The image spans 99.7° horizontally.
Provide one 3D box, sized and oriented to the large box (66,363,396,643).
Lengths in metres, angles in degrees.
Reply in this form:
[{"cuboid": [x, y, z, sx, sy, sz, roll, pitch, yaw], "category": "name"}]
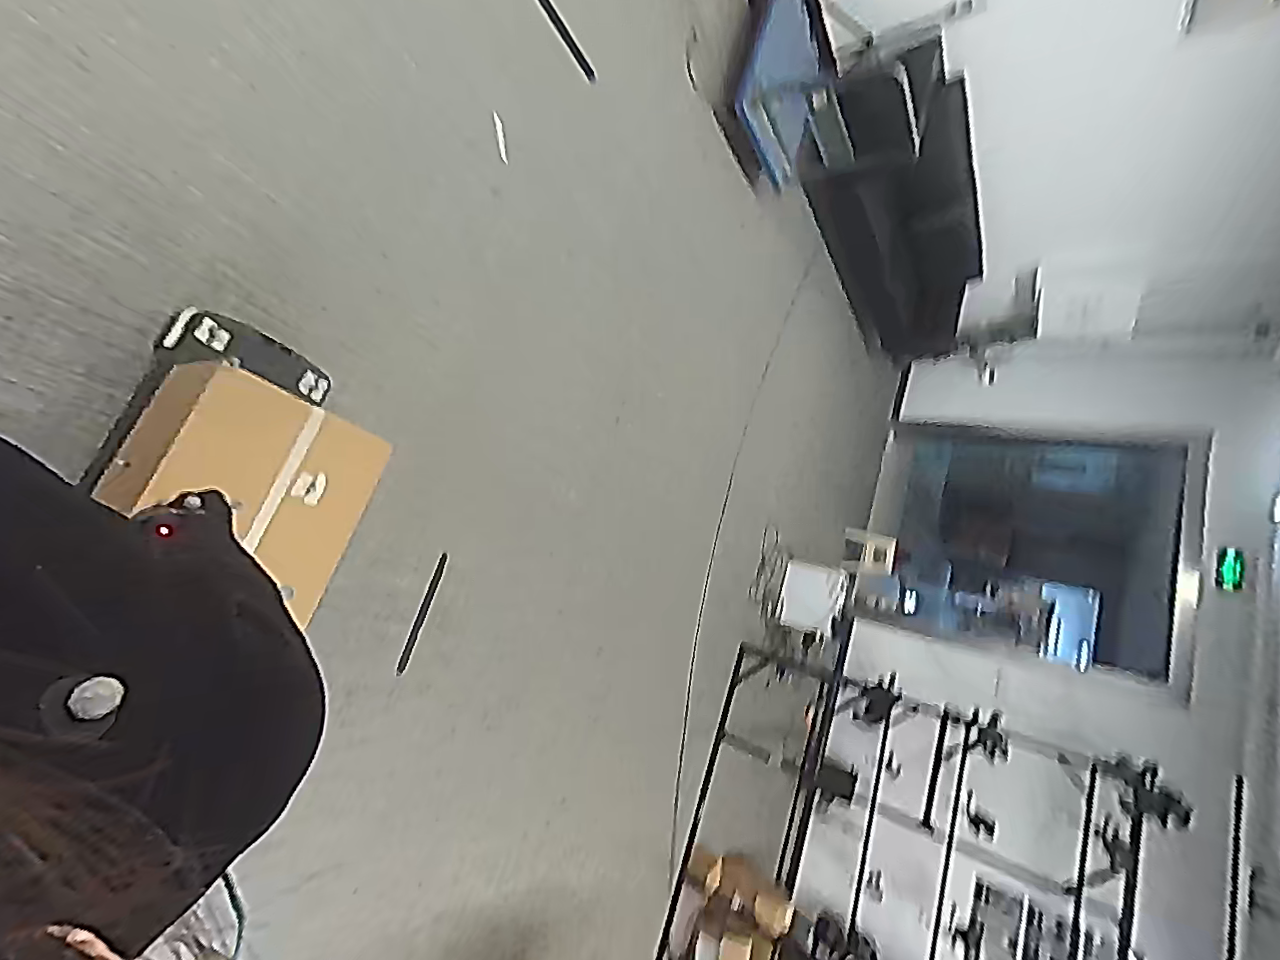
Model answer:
[{"cuboid": [-0.739, 0.044, 0.999, 0.320, 0.320, 0.408, 37, 66, -49], "category": "large box"}]
